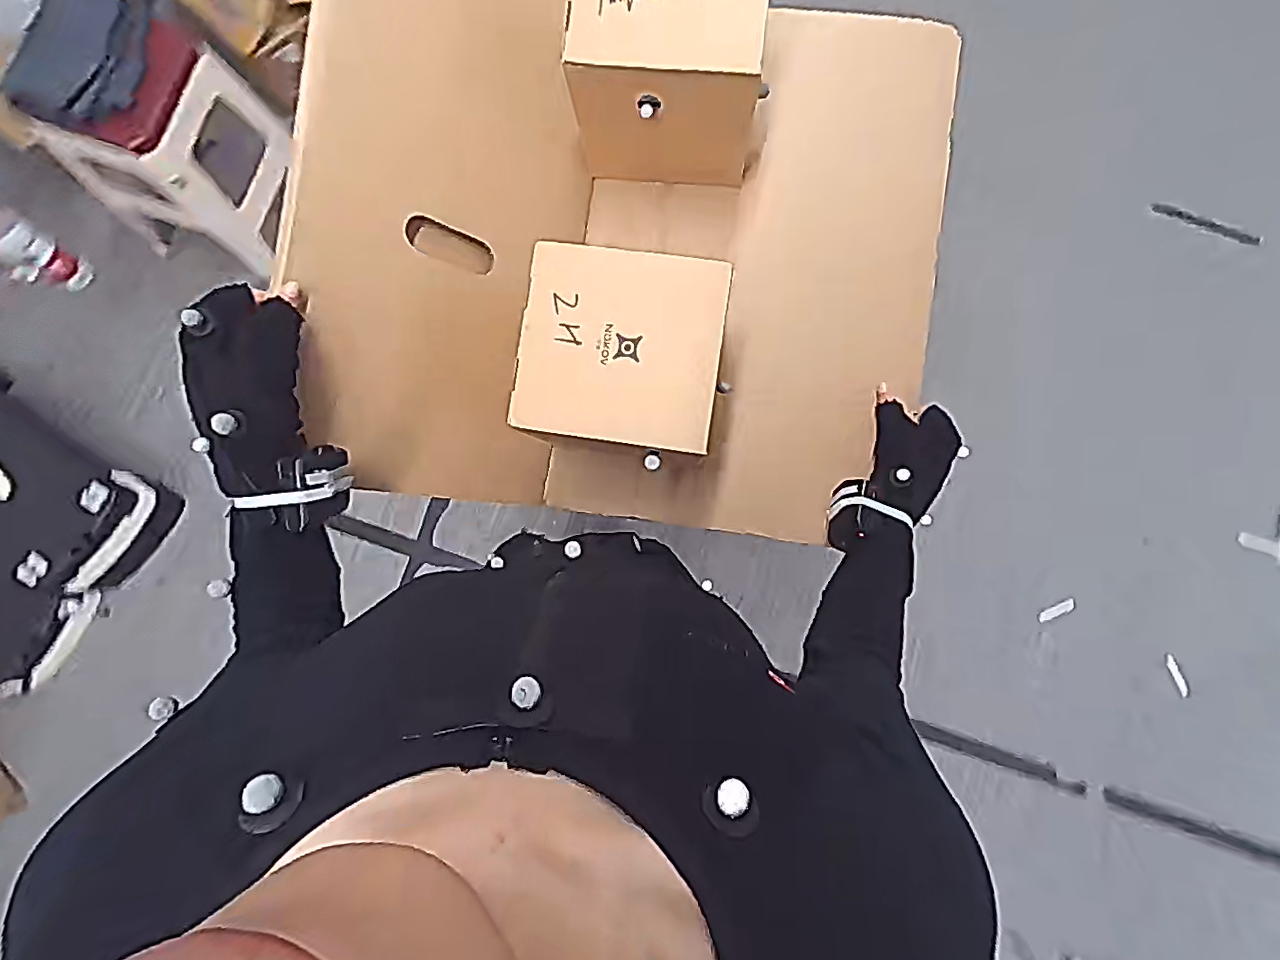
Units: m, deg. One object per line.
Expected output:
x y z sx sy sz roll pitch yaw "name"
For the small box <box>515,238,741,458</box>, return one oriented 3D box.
-0.005 -0.118 0.550 0.179 0.176 0.168 10 89 6 "small box"
